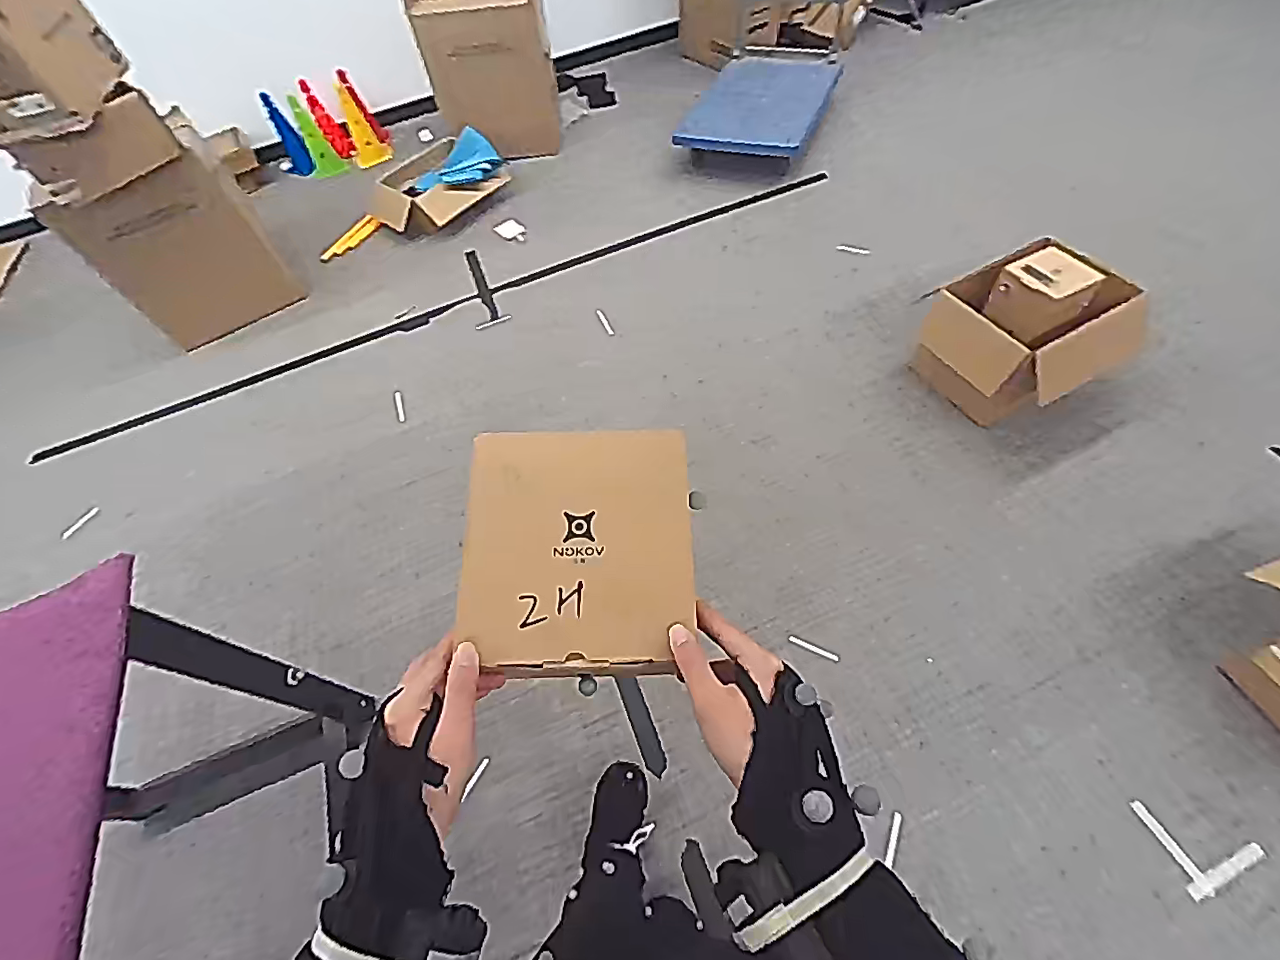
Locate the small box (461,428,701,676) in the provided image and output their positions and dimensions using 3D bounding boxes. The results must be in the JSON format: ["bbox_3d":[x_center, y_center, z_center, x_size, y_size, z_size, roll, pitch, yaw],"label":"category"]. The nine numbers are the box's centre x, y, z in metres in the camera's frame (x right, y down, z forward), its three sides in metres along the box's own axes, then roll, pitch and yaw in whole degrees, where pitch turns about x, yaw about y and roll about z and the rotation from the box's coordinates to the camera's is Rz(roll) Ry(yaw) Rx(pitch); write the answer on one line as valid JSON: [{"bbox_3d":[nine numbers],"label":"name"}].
[{"bbox_3d":[-0.041,0.071,0.469,0.168,0.176,0.179,-1,67,-1],"label":"small box"}]
